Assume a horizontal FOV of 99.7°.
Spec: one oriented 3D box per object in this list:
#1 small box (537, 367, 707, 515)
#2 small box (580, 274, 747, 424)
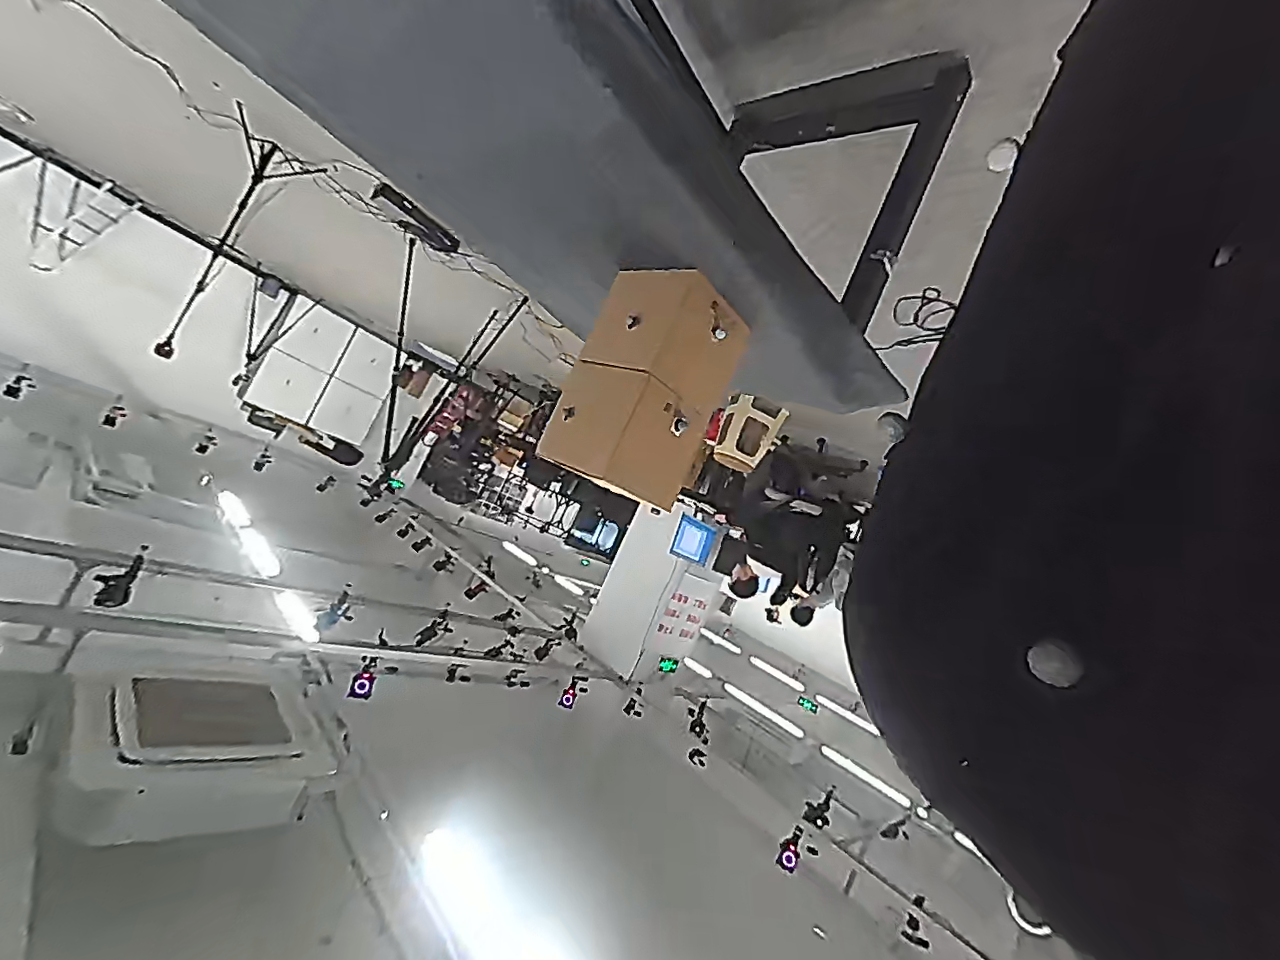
[{"bbox_3d":[-0.026,-0.066,0.857,0.179,0.176,0.168,19,174,44],"label":"small box"},{"bbox_3d":[0.041,-0.213,0.870,0.179,0.176,0.168,19,173,44],"label":"small box"}]
